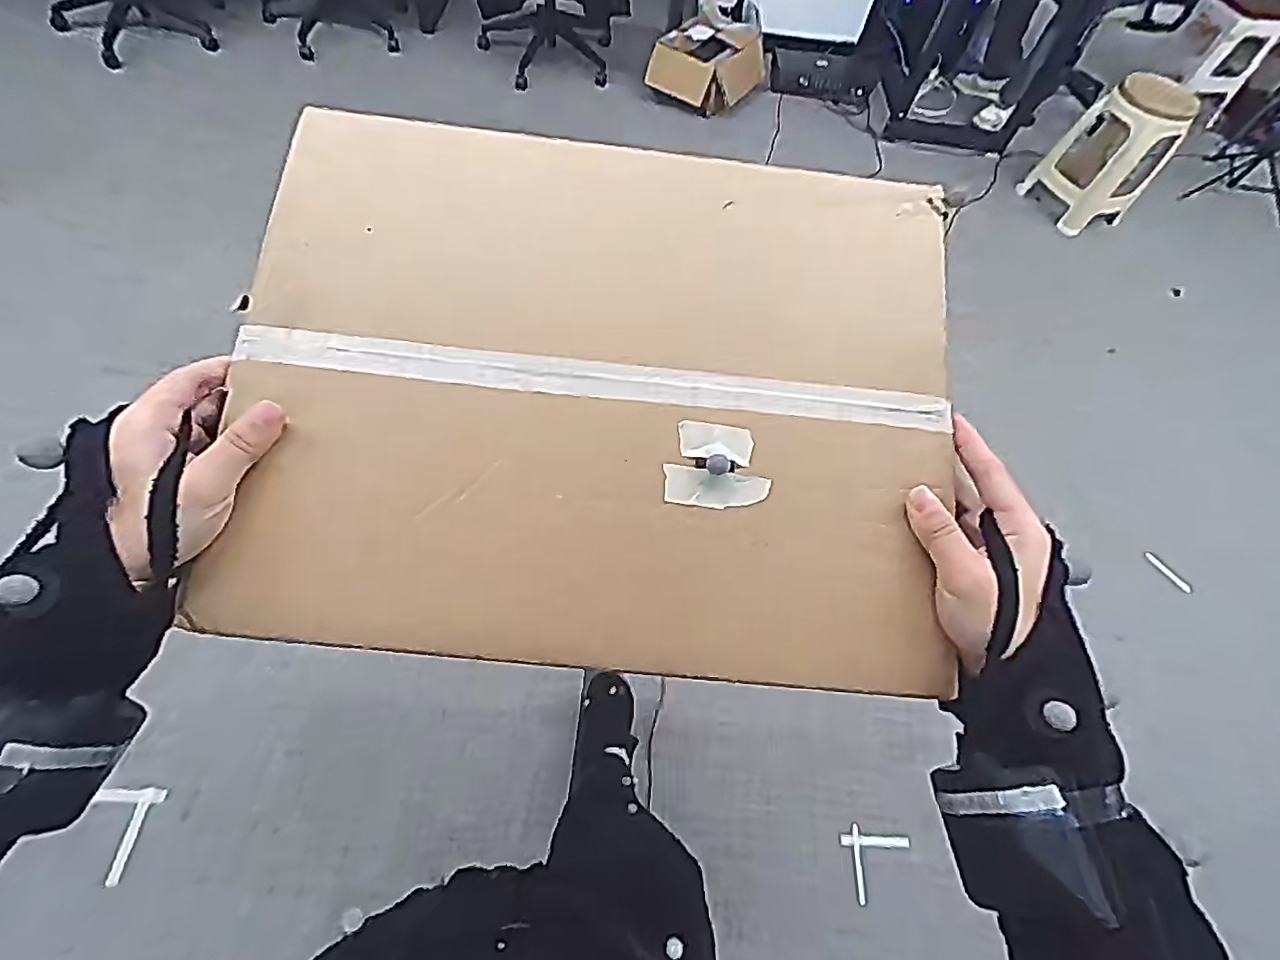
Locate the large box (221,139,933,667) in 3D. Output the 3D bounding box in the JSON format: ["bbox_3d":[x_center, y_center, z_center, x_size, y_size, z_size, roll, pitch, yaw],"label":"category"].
[{"bbox_3d":[-0.028,-0.028,0.475,0.408,0.320,0.320,6,79,-2],"label":"large box"}]

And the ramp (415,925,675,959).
[{"bbox_3d":[-0.203,1.253,0.721,0.509,0.206,0.991,4,60,-2],"label":"ramp"}]
